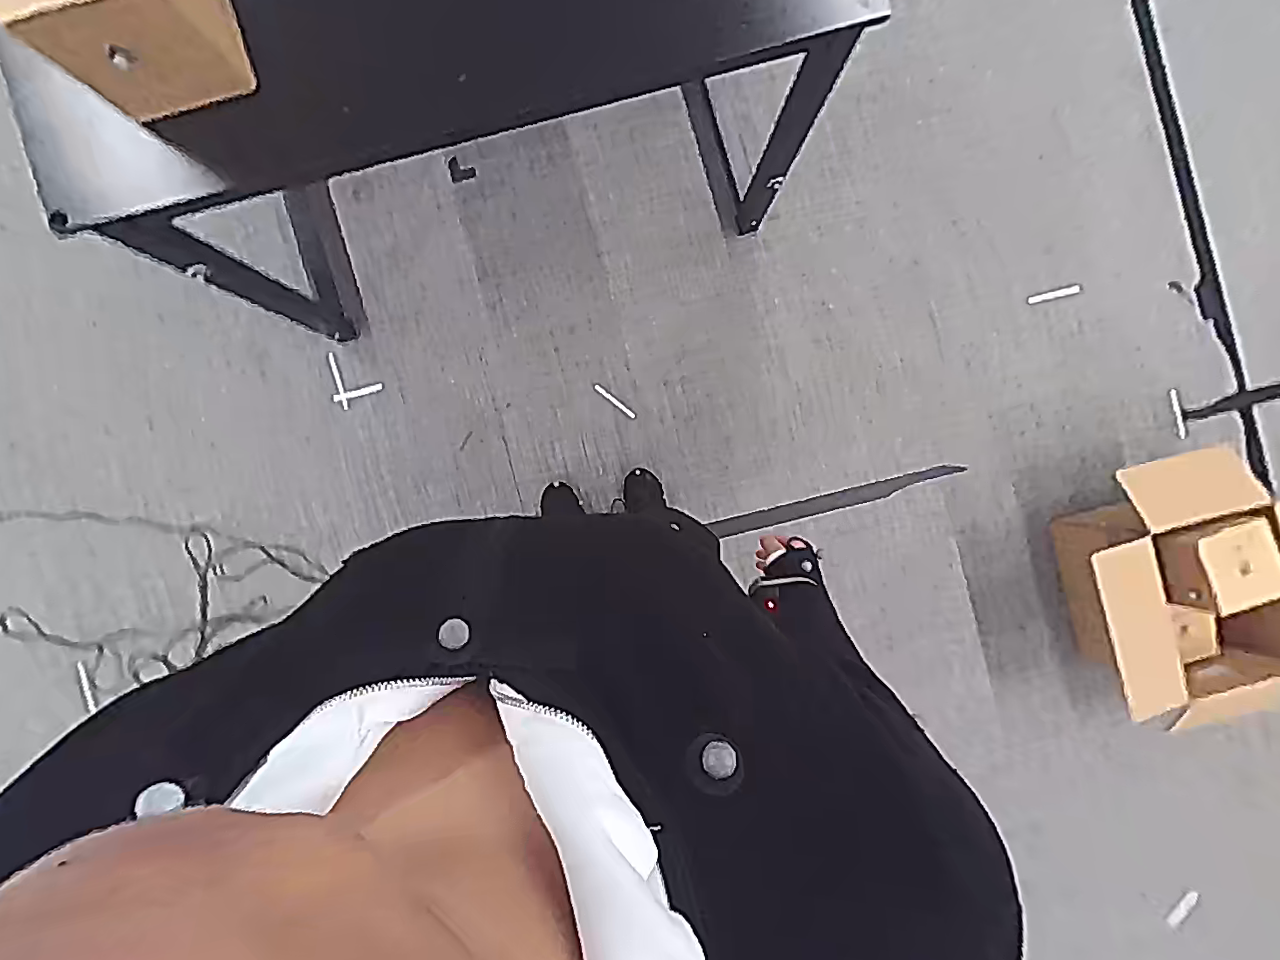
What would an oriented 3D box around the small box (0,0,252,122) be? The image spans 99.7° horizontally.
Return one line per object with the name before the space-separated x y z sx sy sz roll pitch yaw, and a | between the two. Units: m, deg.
small box | -0.634 -0.585 0.663 0.179 0.176 0.168 -18 91 -1
